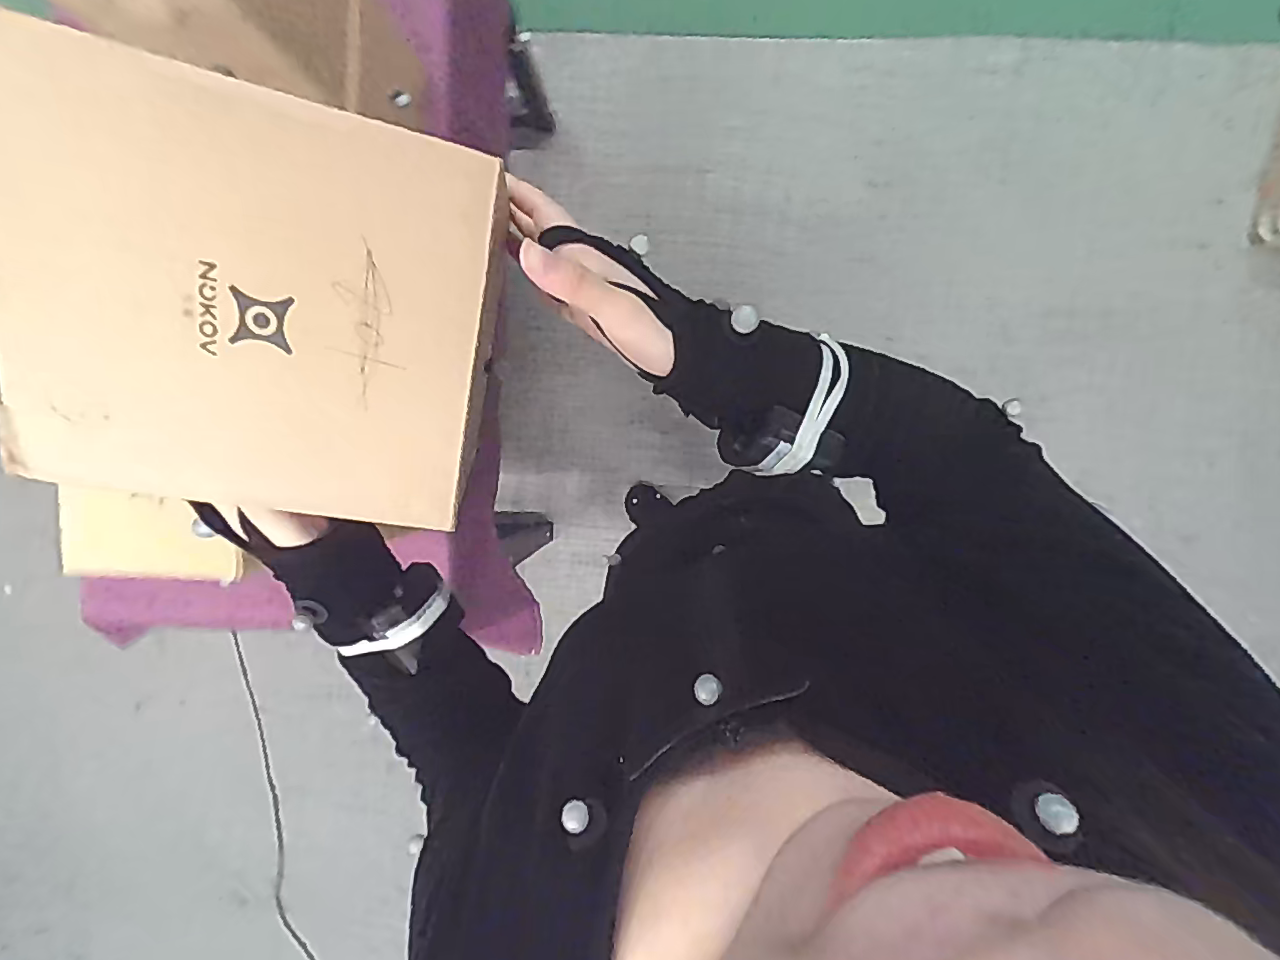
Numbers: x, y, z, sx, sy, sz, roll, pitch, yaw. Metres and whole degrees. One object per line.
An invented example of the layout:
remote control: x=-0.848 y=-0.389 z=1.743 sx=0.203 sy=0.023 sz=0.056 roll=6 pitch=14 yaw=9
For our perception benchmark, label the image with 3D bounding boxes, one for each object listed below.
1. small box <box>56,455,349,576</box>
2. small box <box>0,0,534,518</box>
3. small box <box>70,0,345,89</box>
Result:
small box: x=-0.434 y=-0.002 z=0.561 sx=0.179 sy=0.176 sz=0.168 roll=1 pitch=93 yaw=3
small box: x=-0.161 y=-0.098 z=0.293 sx=0.179 sy=0.176 sz=0.168 roll=10 pitch=108 yaw=-16
small box: x=-0.417 y=-0.498 z=0.530 sx=0.168 sy=0.176 sz=0.179 roll=4 pitch=93 yaw=3
